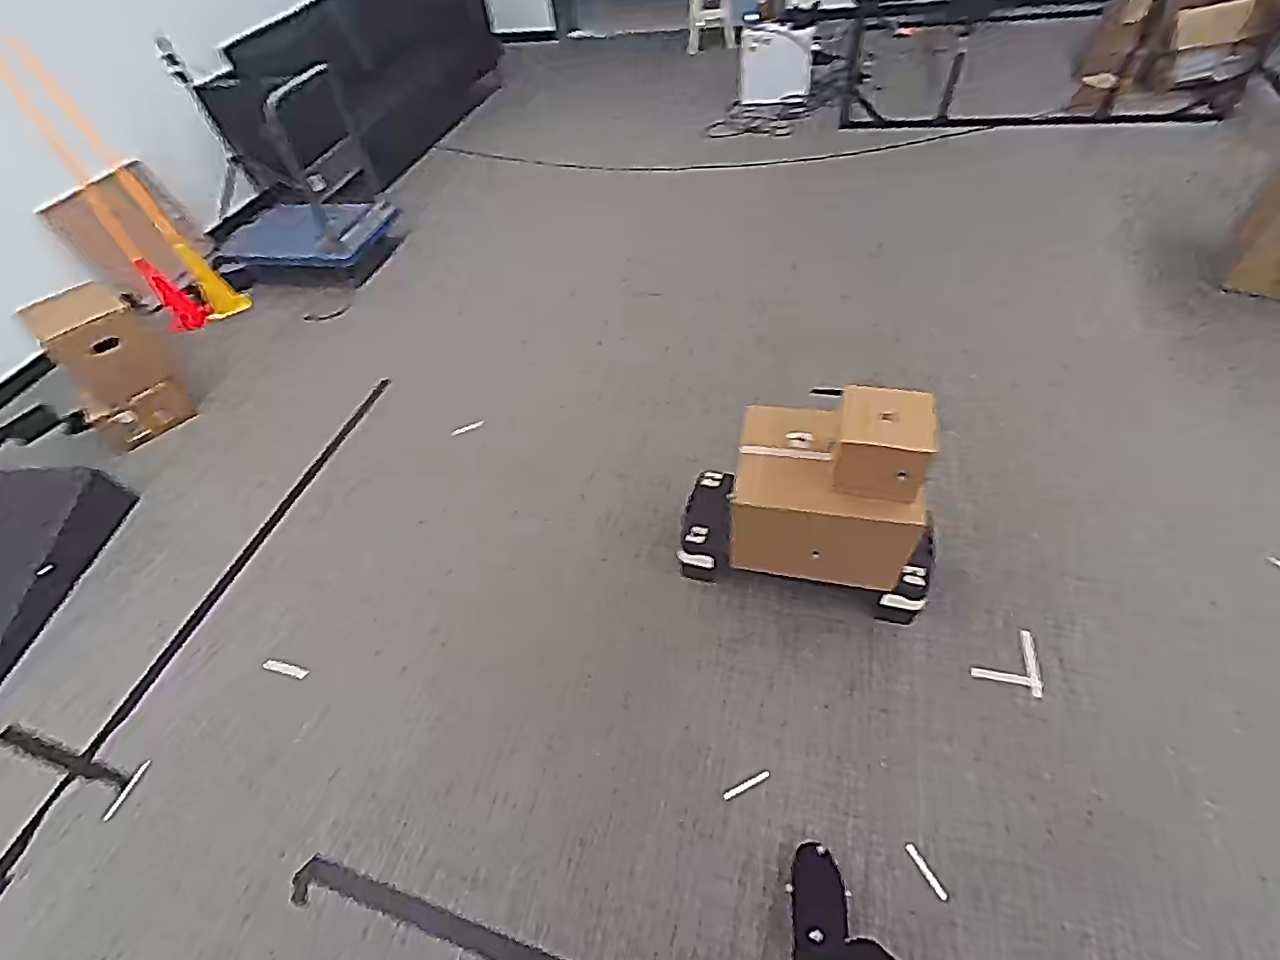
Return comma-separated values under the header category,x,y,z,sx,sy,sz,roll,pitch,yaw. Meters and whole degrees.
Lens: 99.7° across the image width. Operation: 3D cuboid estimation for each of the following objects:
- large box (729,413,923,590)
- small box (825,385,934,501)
category,x,y,z,sx,sy,sz,roll,pitch,yaw
large box,0.444,0.054,1.358,0.408,0.320,0.320,5,52,14
small box,0.498,-0.074,1.136,0.179,0.176,0.168,9,54,16
